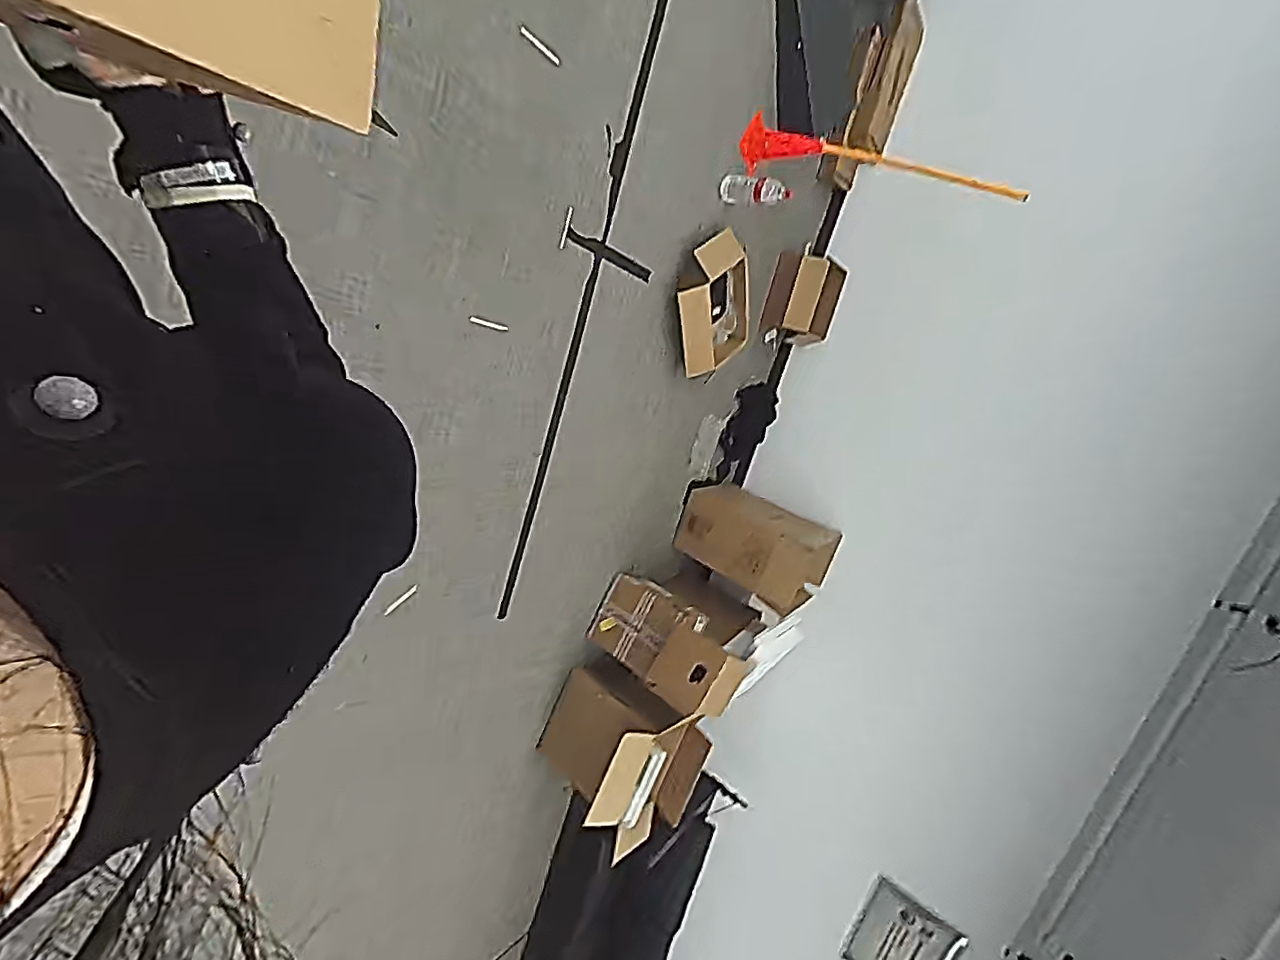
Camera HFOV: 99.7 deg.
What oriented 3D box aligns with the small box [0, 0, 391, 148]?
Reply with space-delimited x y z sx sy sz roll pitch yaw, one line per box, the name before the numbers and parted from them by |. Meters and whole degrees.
small box | -0.229 -0.274 0.225 0.168 0.176 0.179 -45 152 -68
